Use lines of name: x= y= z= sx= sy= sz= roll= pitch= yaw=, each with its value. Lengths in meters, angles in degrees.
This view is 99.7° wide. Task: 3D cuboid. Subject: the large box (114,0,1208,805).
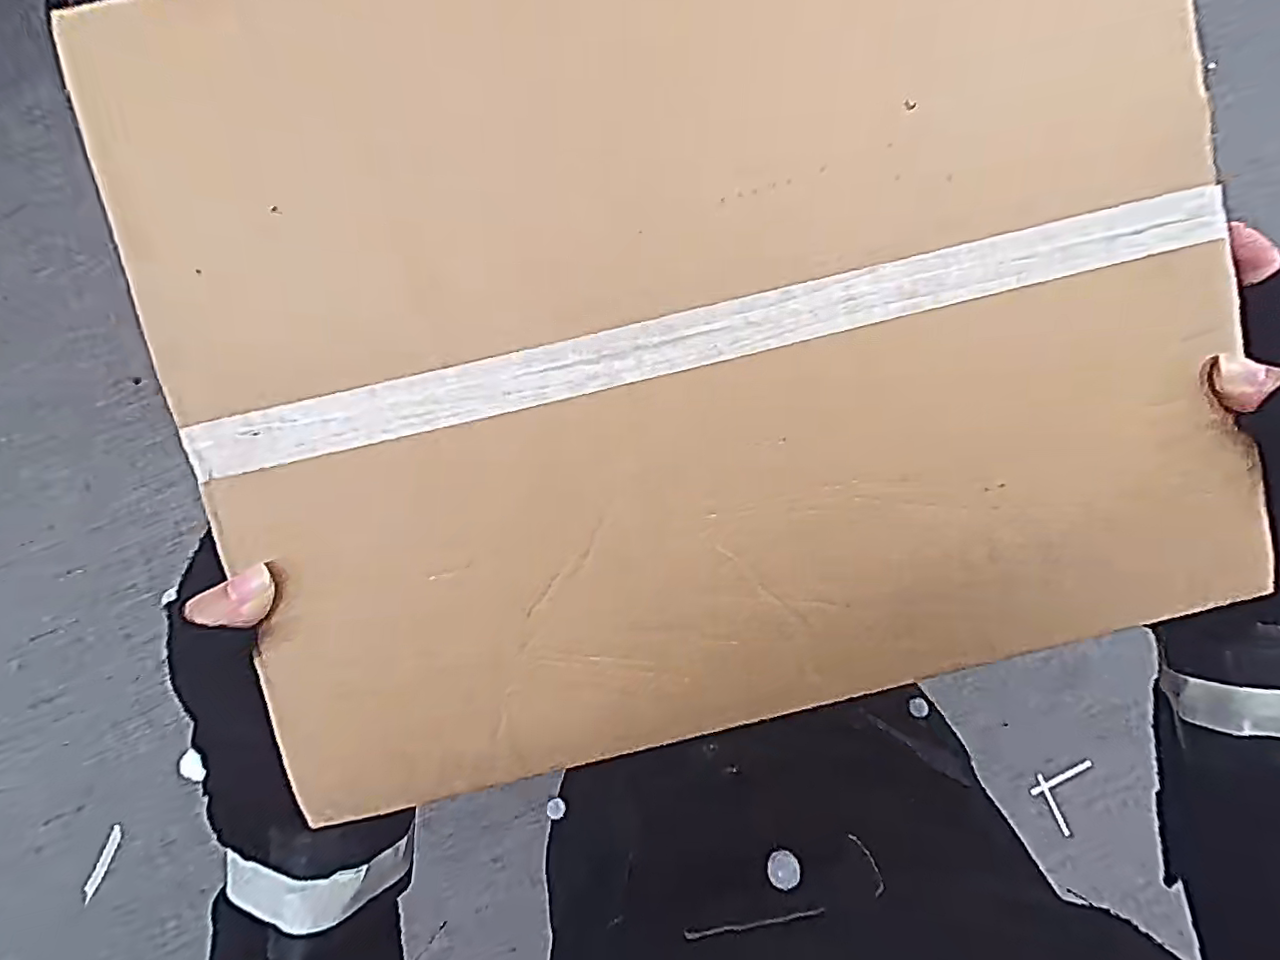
large box: x=0.022 y=-0.067 z=0.370 sx=0.408 sy=0.320 sz=0.320 roll=-14 pitch=94 yaw=-1
